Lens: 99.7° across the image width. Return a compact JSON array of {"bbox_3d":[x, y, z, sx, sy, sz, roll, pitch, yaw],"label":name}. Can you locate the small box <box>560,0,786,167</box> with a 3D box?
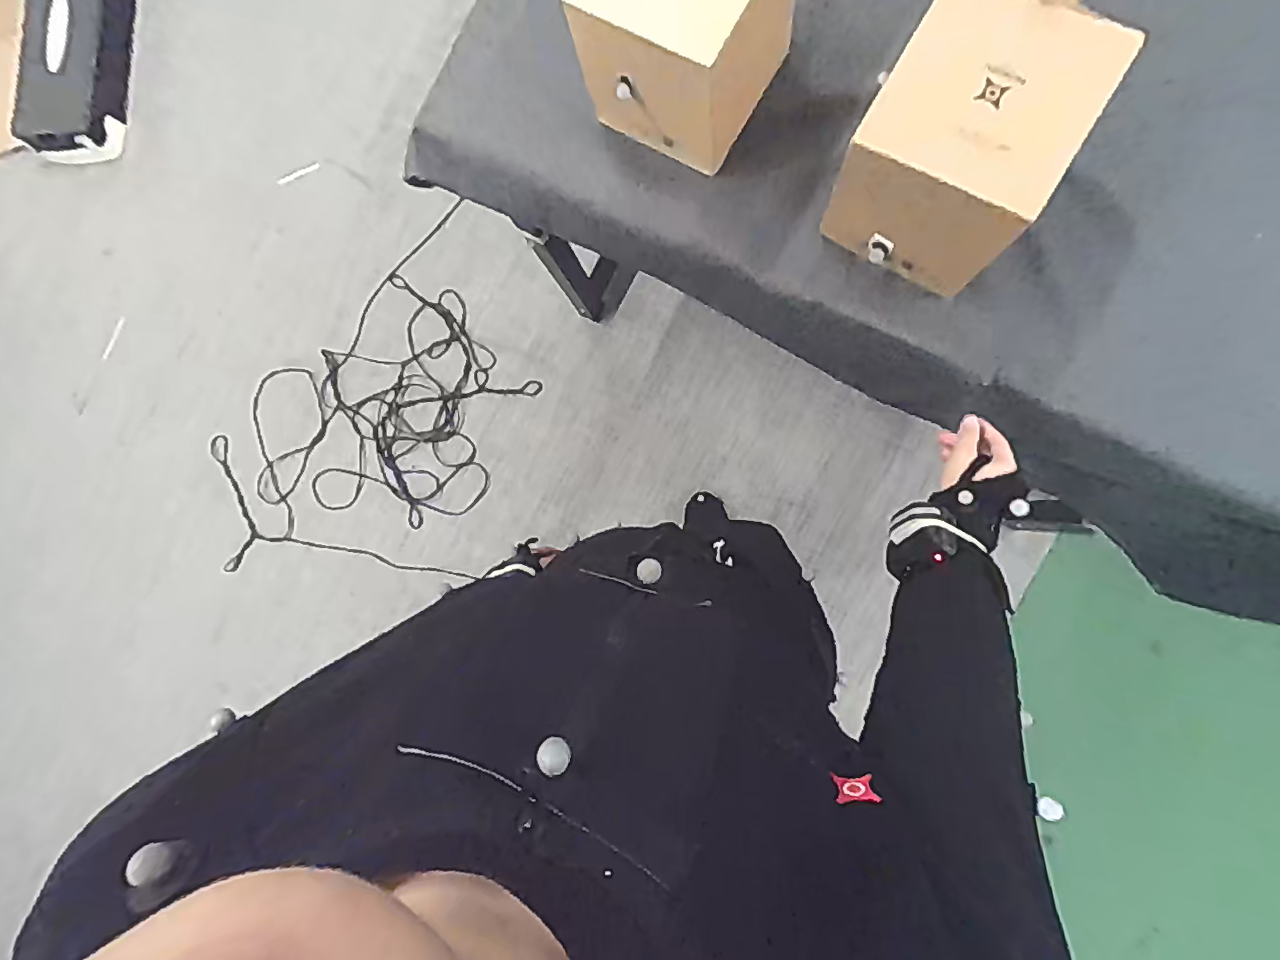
[{"bbox_3d":[0.047,-0.477,0.567,0.168,0.176,0.179,30,90,9],"label":"small box"}]

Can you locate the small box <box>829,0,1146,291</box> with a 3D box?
[{"bbox_3d":[0.304,-0.320,0.522,0.168,0.176,0.179,30,92,10],"label":"small box"}]
